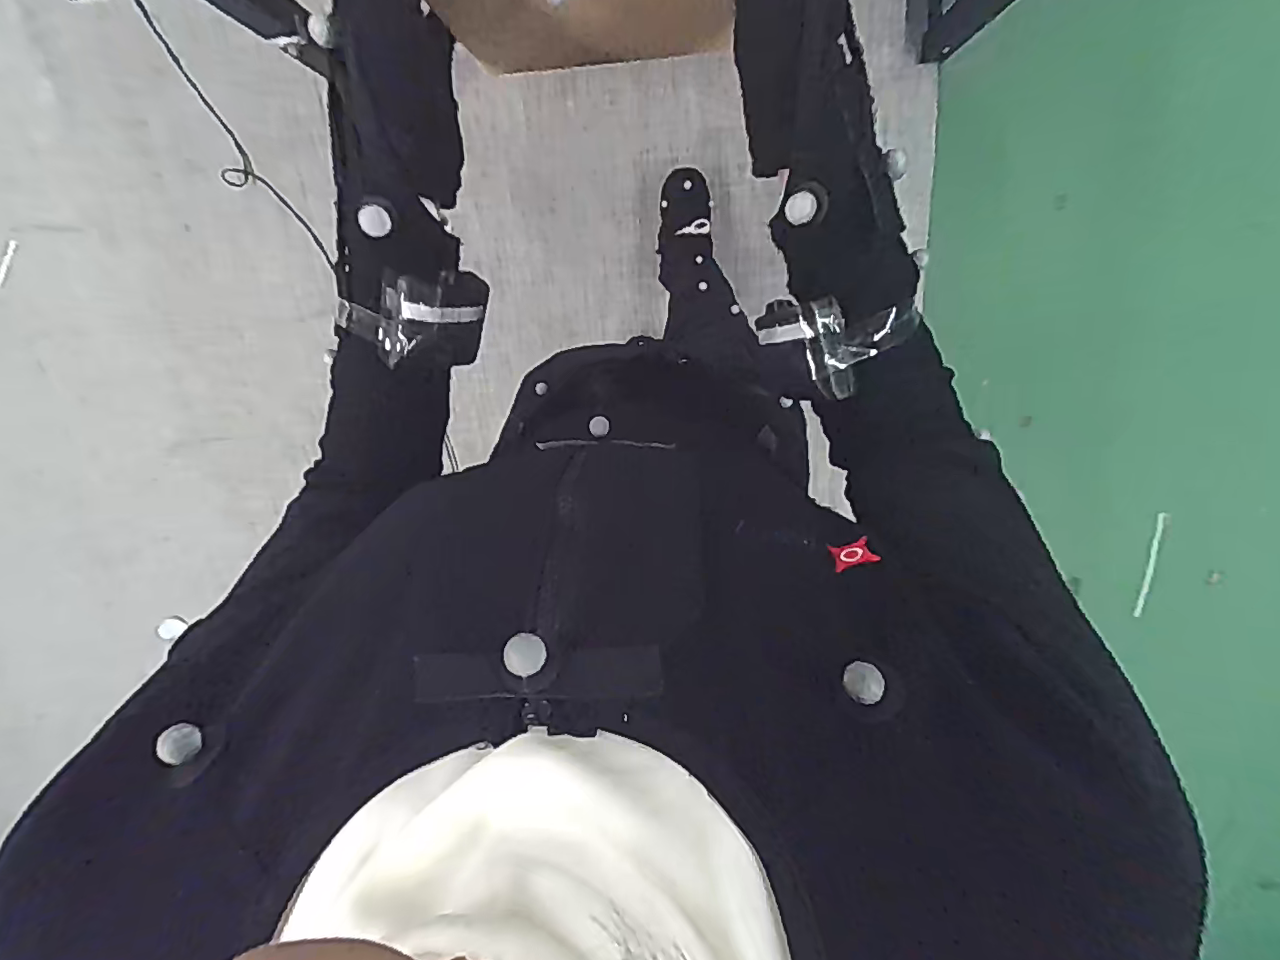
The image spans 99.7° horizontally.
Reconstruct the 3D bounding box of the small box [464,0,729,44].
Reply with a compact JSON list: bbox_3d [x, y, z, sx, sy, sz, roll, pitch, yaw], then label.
[{"bbox_3d":[-0.033,-0.361,0.279,0.179,0.176,0.168,-2,109,4],"label":"small box"}]
